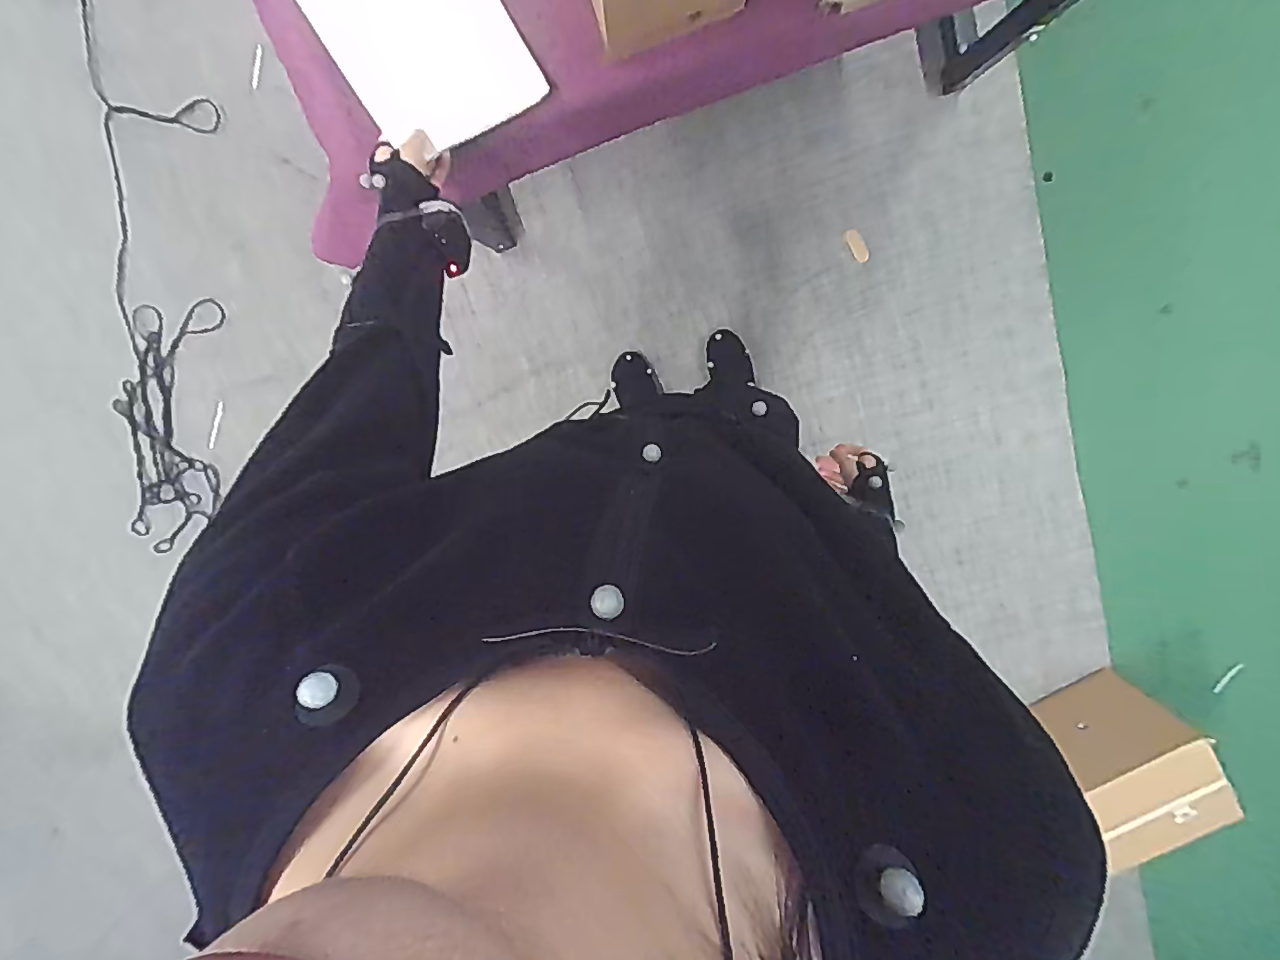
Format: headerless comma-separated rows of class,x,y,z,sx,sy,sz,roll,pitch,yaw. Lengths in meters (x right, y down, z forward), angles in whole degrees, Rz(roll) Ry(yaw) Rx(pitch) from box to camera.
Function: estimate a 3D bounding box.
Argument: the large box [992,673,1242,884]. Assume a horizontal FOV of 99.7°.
large box,1.362,0.855,1.583,0.408,0.320,0.320,-33,103,7
